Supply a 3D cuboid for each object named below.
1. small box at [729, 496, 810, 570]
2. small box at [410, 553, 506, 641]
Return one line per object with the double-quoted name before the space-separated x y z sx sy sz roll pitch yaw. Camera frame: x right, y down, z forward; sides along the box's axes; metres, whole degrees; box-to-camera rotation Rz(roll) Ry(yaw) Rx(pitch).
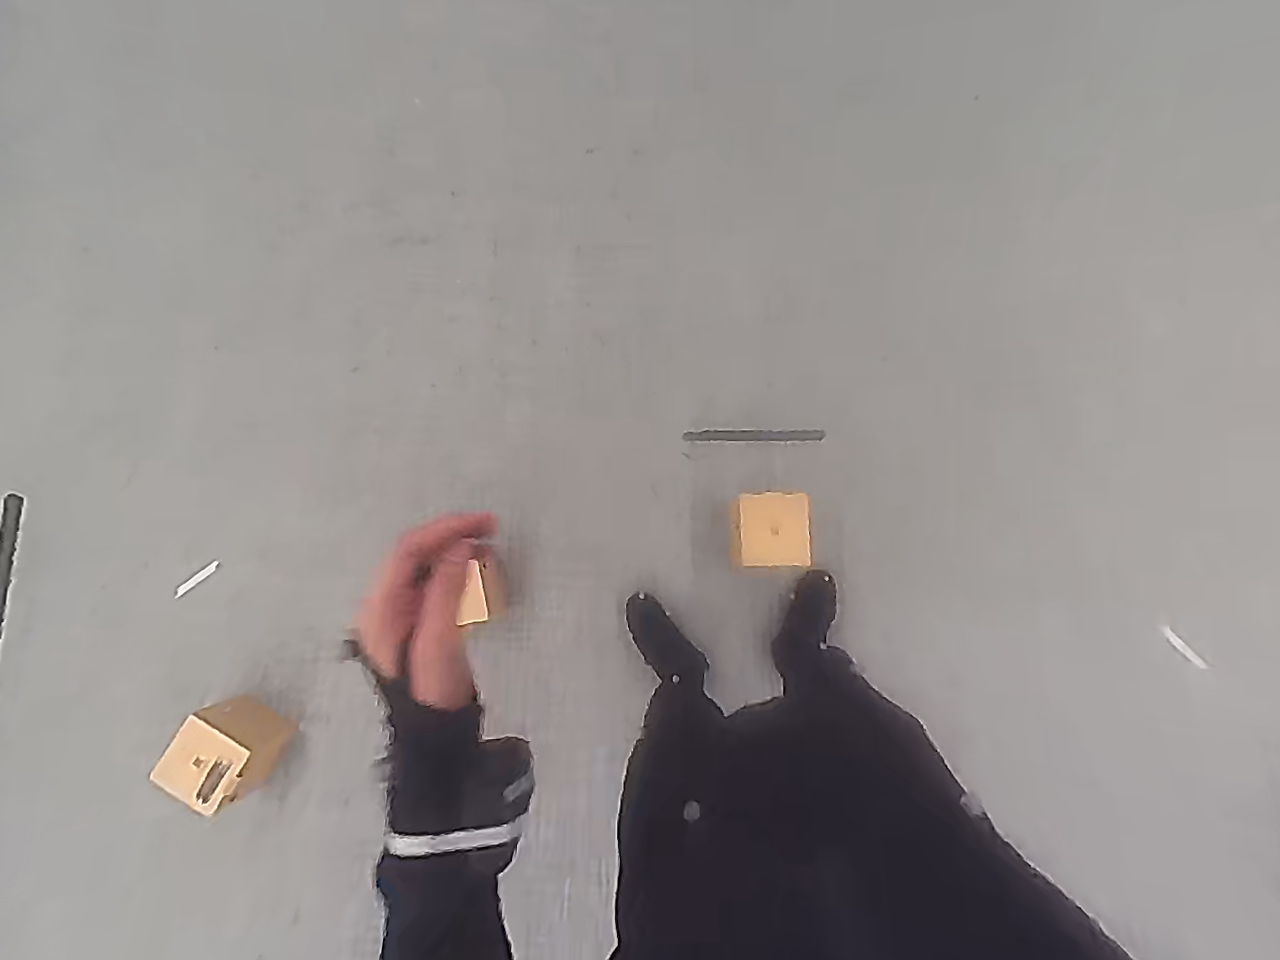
"small box" 0.322 0.135 1.371 0.168 0.176 0.179 -1 82 0
"small box" -0.449 0.286 1.353 0.168 0.176 0.179 -14 83 -2
